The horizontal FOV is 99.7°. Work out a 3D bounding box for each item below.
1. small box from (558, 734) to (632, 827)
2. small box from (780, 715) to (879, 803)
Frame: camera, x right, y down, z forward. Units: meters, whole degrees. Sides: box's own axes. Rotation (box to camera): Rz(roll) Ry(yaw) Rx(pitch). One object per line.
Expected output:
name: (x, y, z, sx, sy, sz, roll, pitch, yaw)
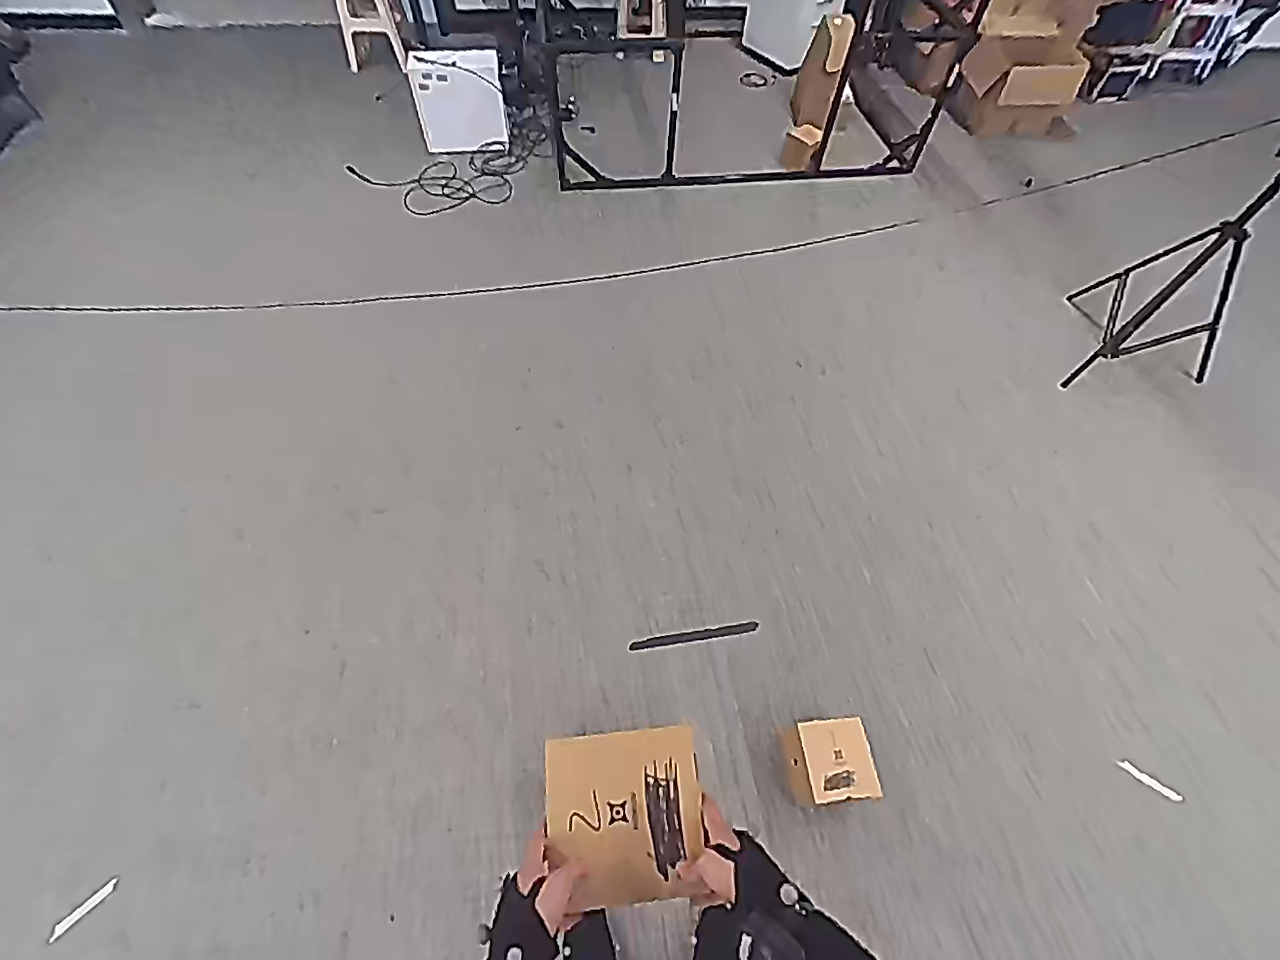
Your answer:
small box: (-0.107, 0.732, 1.314, 0.168, 0.176, 0.179, -5, 57, -5)
small box: (0.464, 0.702, 1.353, 0.168, 0.176, 0.179, -3, 56, -5)
